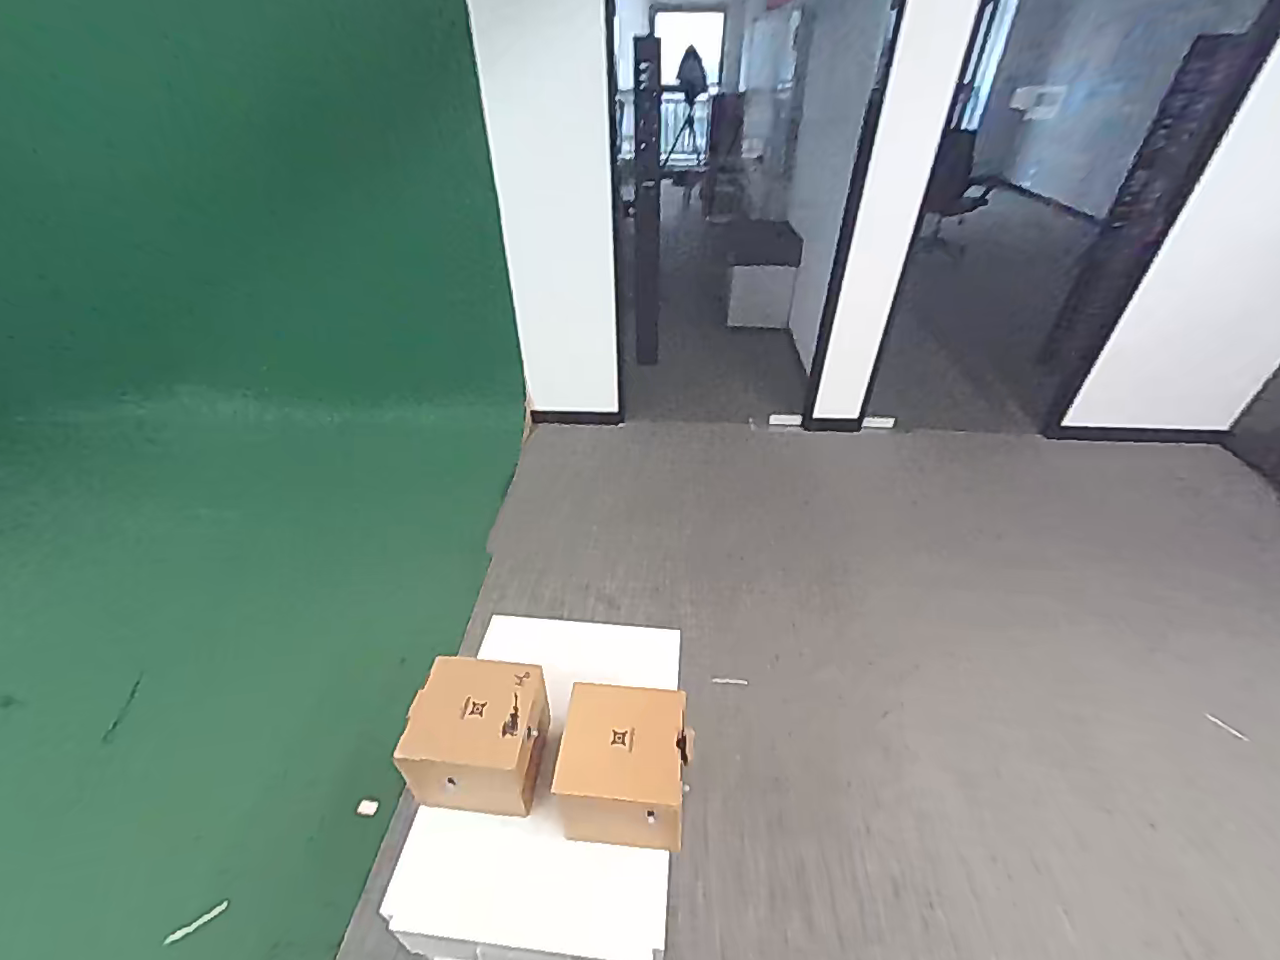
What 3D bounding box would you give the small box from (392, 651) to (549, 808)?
[{"bbox_3d":[-0.253,0.396,0.856,0.179,0.176,0.168,4,39,4],"label":"small box"}]
